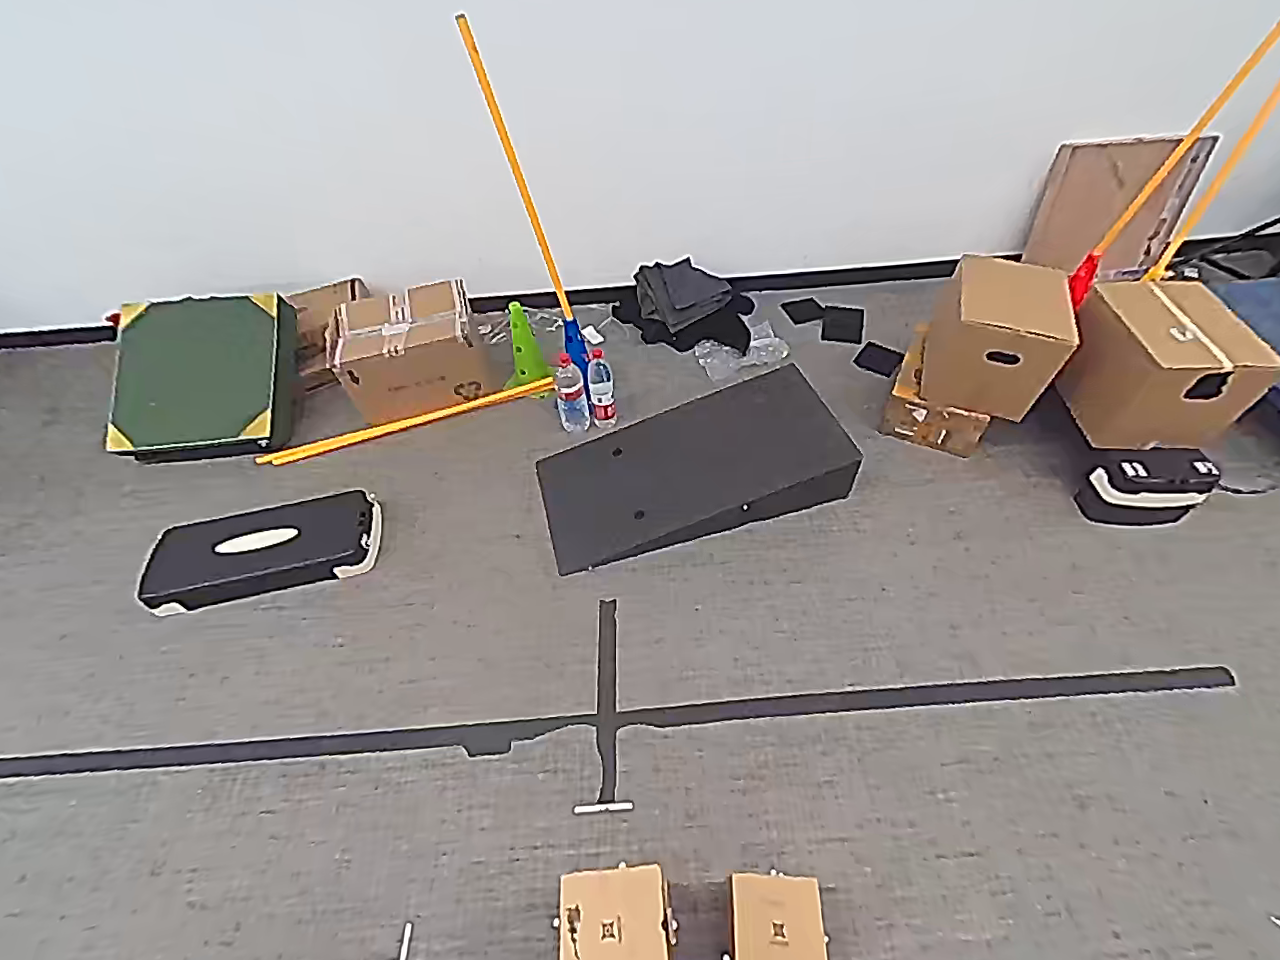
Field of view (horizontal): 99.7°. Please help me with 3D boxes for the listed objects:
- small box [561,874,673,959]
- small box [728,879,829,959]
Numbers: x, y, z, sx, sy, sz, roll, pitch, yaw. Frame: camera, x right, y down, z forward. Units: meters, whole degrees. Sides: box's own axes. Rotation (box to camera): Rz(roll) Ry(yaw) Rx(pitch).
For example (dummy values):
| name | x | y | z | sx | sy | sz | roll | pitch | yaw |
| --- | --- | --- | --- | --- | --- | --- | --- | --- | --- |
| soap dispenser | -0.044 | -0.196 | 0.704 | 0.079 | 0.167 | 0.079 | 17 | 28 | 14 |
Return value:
| name | x | y | z | sx | sy | sz | roll | pitch | yaw |
| --- | --- | --- | --- | --- | --- | --- | --- | --- | --- |
| small box | -0.036 | 0.782 | 0.919 | 0.179 | 0.176 | 0.168 | -5 | 50 | -2 |
| small box | 0.259 | 0.883 | 1.034 | 0.168 | 0.176 | 0.179 | 1 | 50 | 4 |
